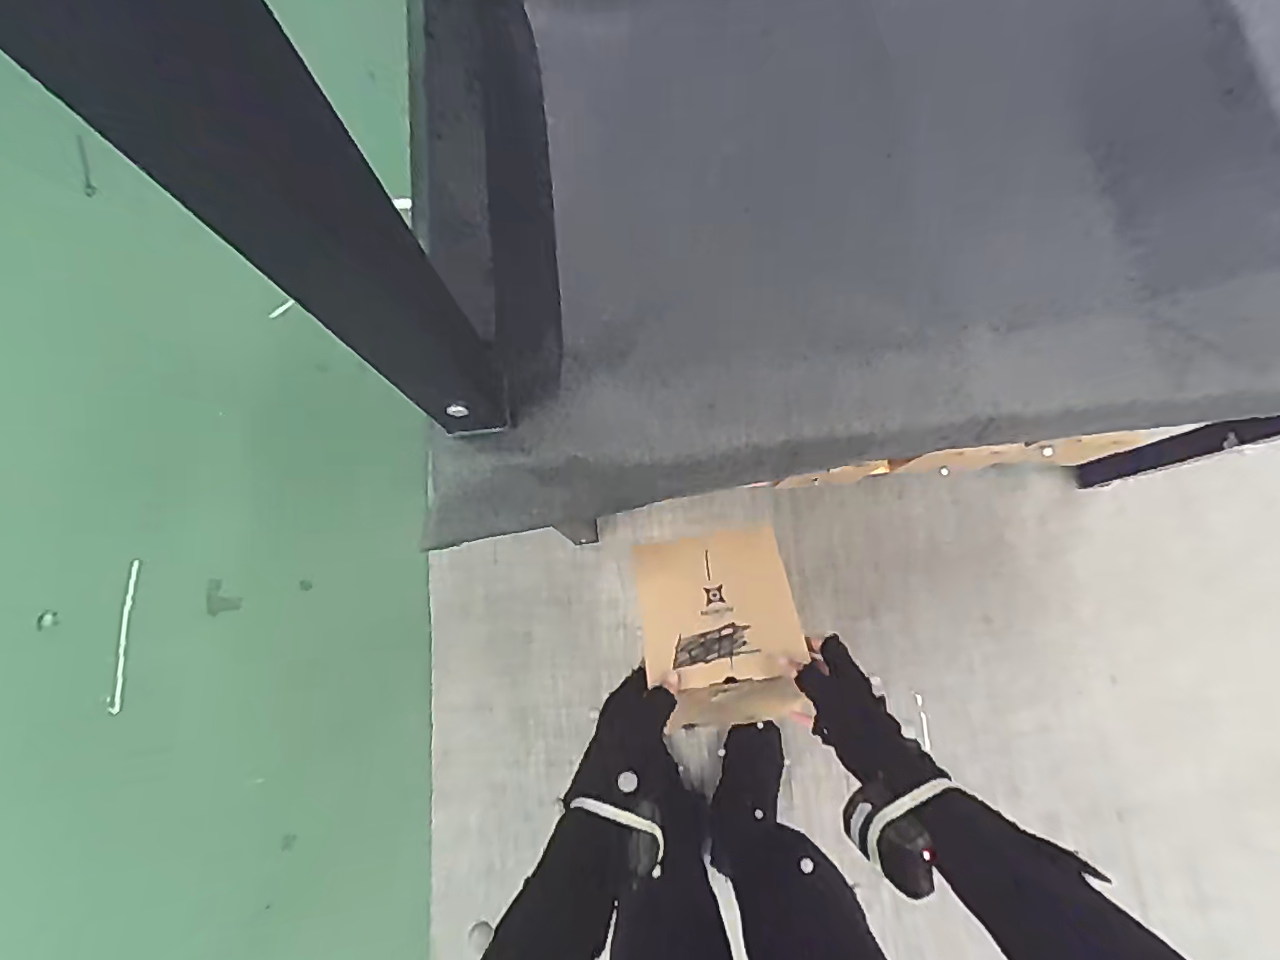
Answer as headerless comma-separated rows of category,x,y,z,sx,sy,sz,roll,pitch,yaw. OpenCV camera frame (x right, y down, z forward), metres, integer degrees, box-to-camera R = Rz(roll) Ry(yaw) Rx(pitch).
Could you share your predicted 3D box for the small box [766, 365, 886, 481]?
small box,0.344,-0.103,1.035,0.168,0.176,0.179,-4,80,1
